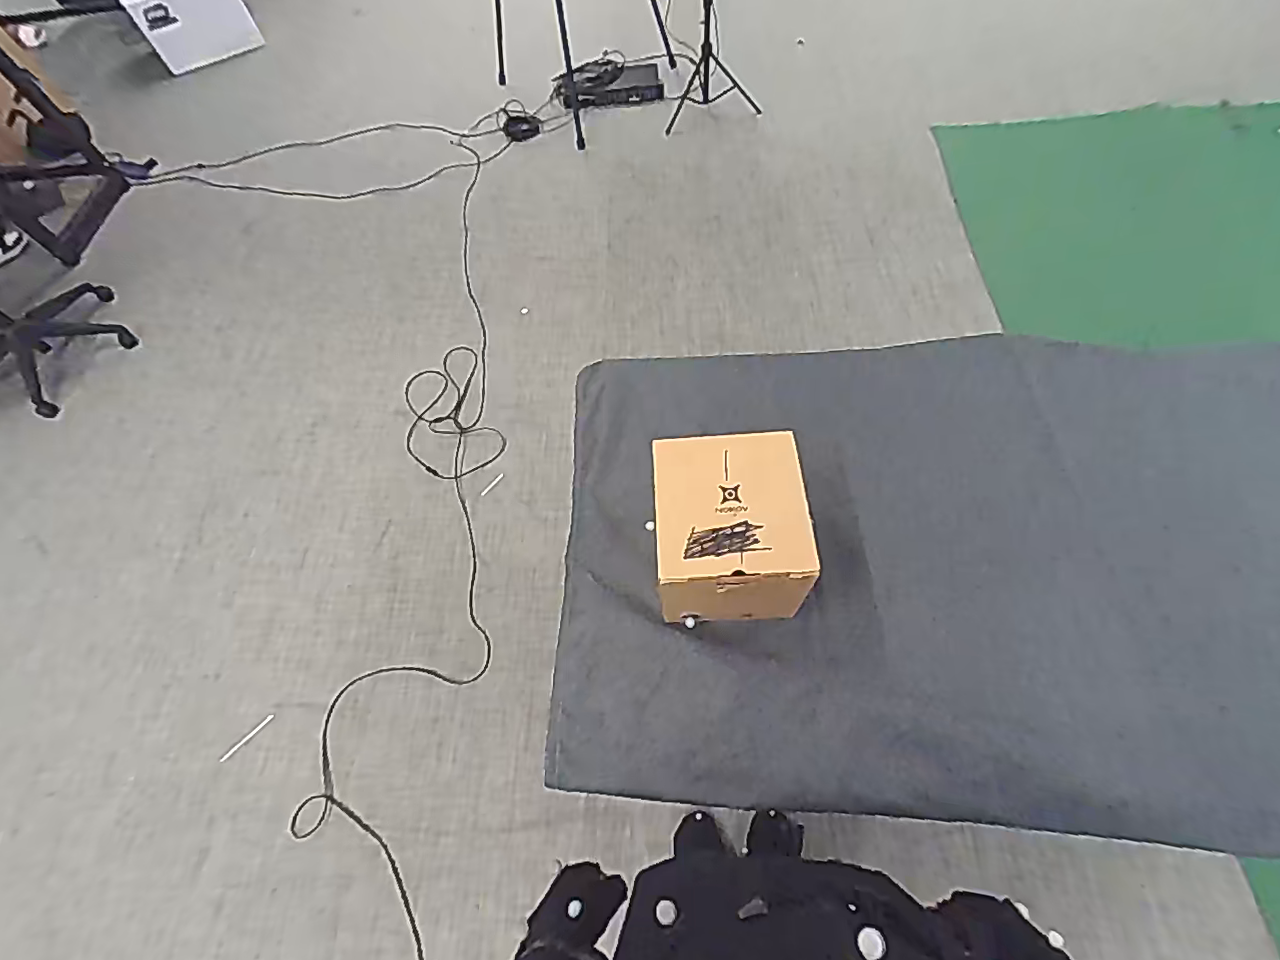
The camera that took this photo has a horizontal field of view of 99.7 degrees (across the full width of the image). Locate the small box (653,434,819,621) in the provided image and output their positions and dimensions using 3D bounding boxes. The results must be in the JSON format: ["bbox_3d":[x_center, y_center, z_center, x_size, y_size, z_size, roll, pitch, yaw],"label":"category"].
[{"bbox_3d":[0.105,0.067,0.652,0.168,0.176,0.179,-4,60,3],"label":"small box"}]
